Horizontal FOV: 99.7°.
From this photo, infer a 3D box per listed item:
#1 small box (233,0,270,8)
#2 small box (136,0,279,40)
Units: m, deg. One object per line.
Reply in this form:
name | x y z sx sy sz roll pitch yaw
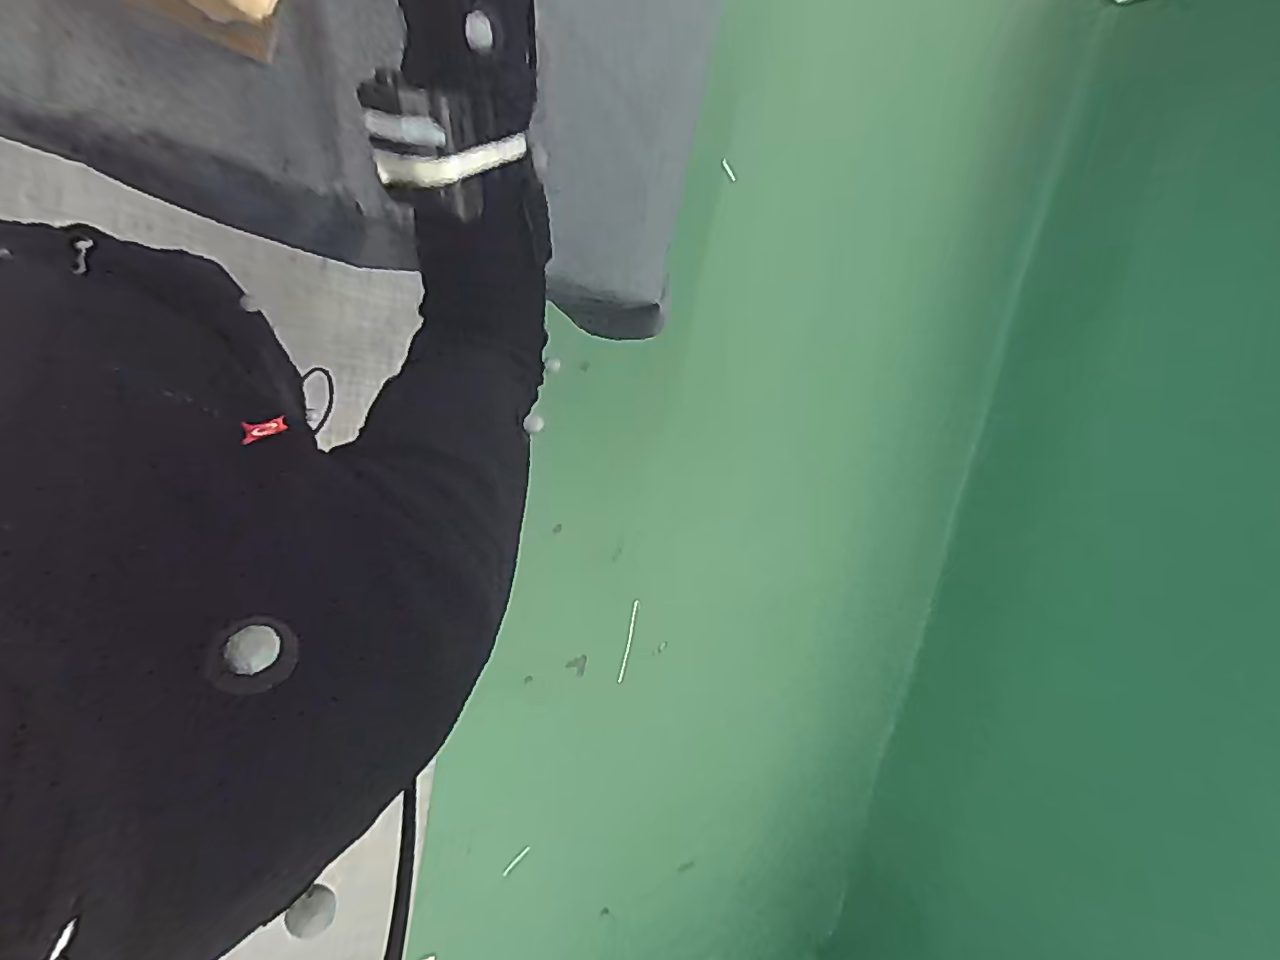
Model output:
small box | -0.206 -0.305 0.177 0.179 0.176 0.168 16 112 -50
small box | -0.327 -0.432 0.344 0.179 0.176 0.168 3 100 -38
